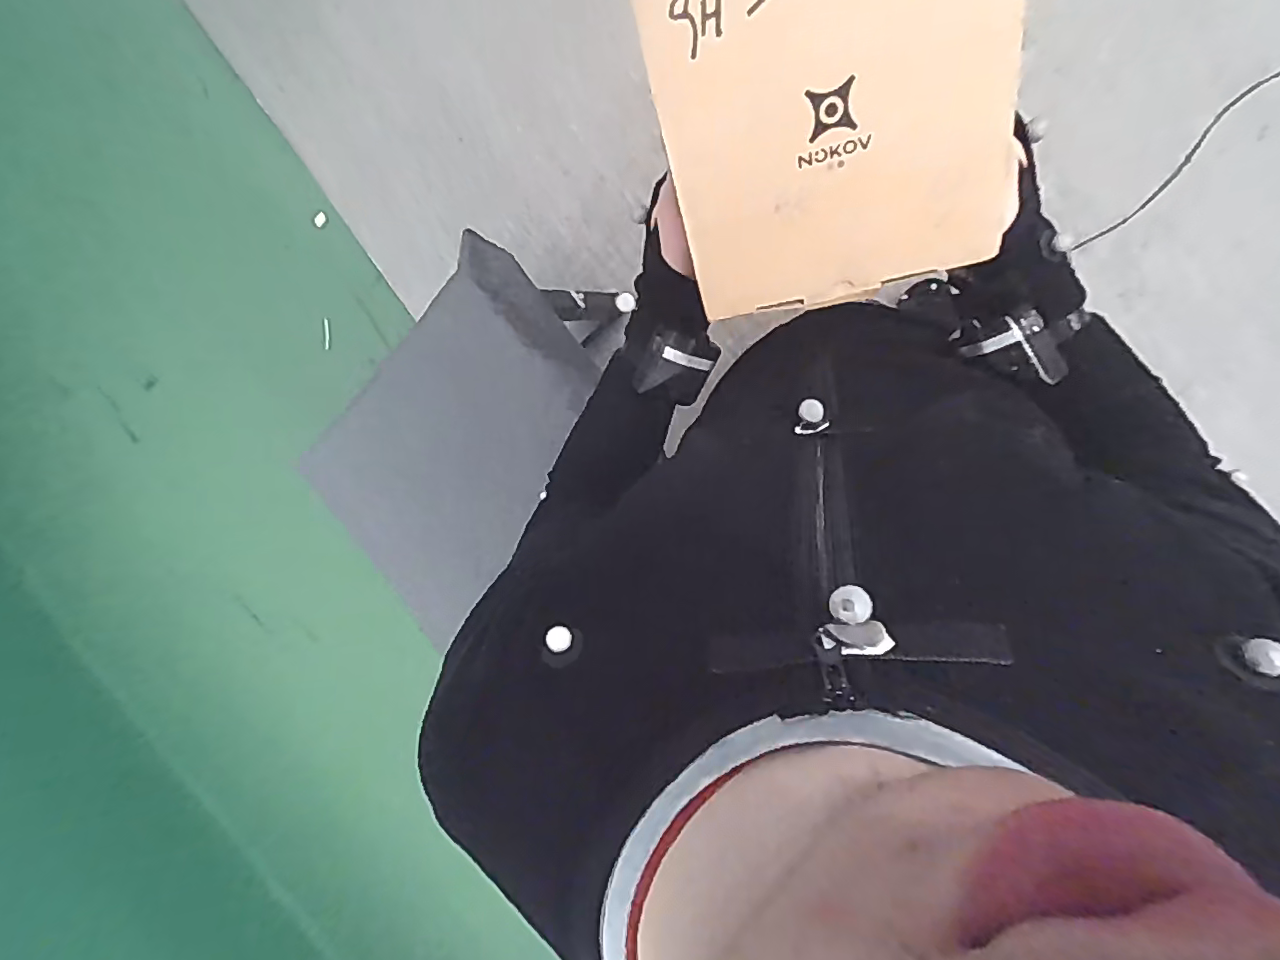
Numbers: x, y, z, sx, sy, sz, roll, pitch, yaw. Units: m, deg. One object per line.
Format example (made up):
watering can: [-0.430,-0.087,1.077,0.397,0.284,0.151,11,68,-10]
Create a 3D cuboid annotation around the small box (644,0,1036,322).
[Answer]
small box: [0.111,-0.229,0.332,0.168,0.176,0.179,-9,130,16]
